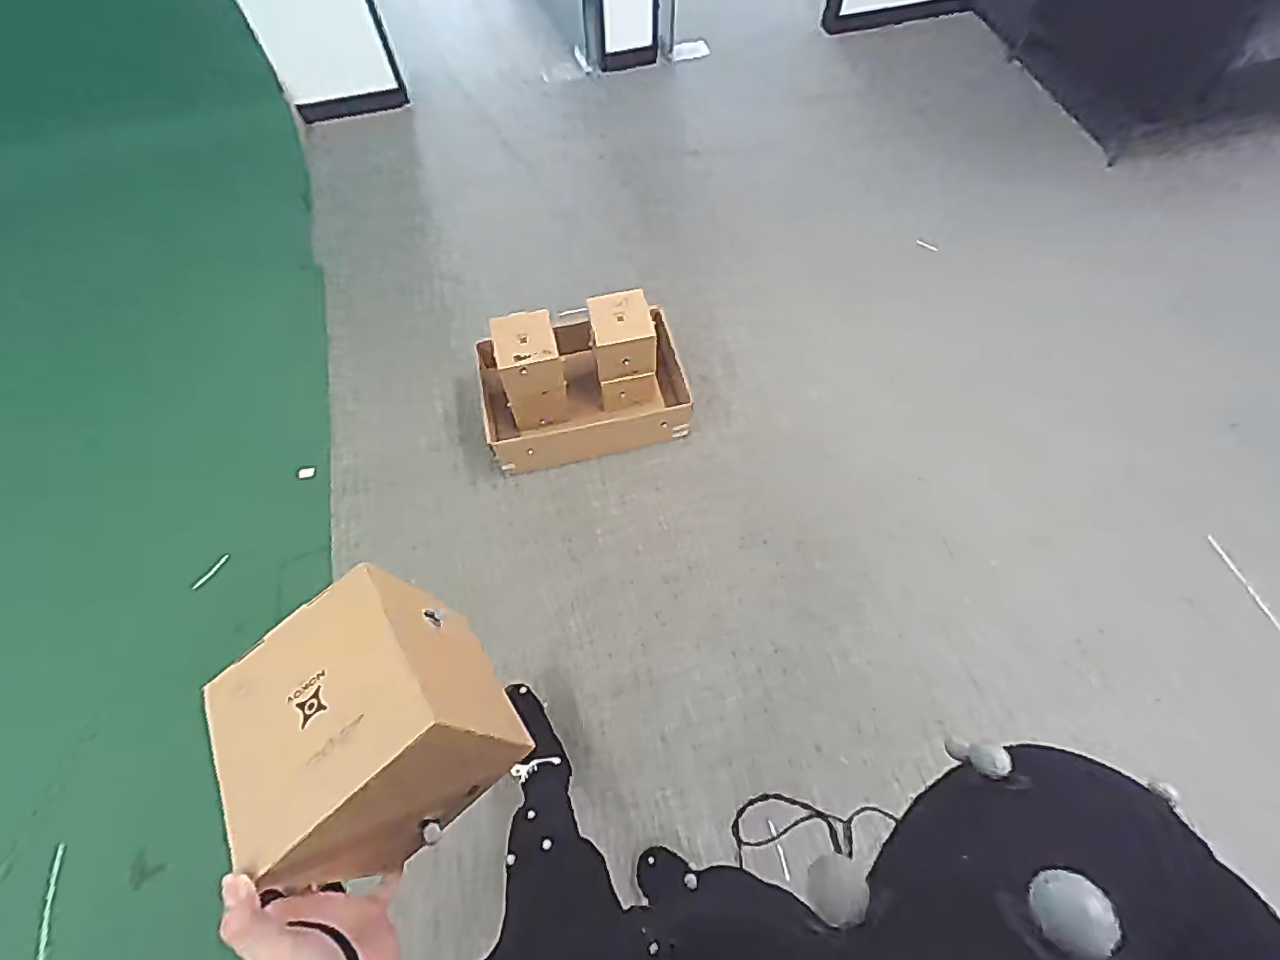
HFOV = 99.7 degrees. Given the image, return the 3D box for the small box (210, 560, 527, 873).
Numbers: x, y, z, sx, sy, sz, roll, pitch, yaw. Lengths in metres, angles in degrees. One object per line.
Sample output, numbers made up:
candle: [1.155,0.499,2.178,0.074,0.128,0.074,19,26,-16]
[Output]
small box: [-0.235,0.212,0.490,0.168,0.176,0.179,-39,55,-8]

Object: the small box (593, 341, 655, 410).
small box: [-0.047,-0.337,1.713,0.168,0.176,0.179,-12,65,-4]

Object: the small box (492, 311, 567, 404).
small box: [-0.310,-0.343,1.531,0.168,0.176,0.179,-13,65,-6]

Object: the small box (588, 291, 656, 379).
small box: [-0.049,-0.410,1.564,0.168,0.176,0.179,-11,65,-4]
